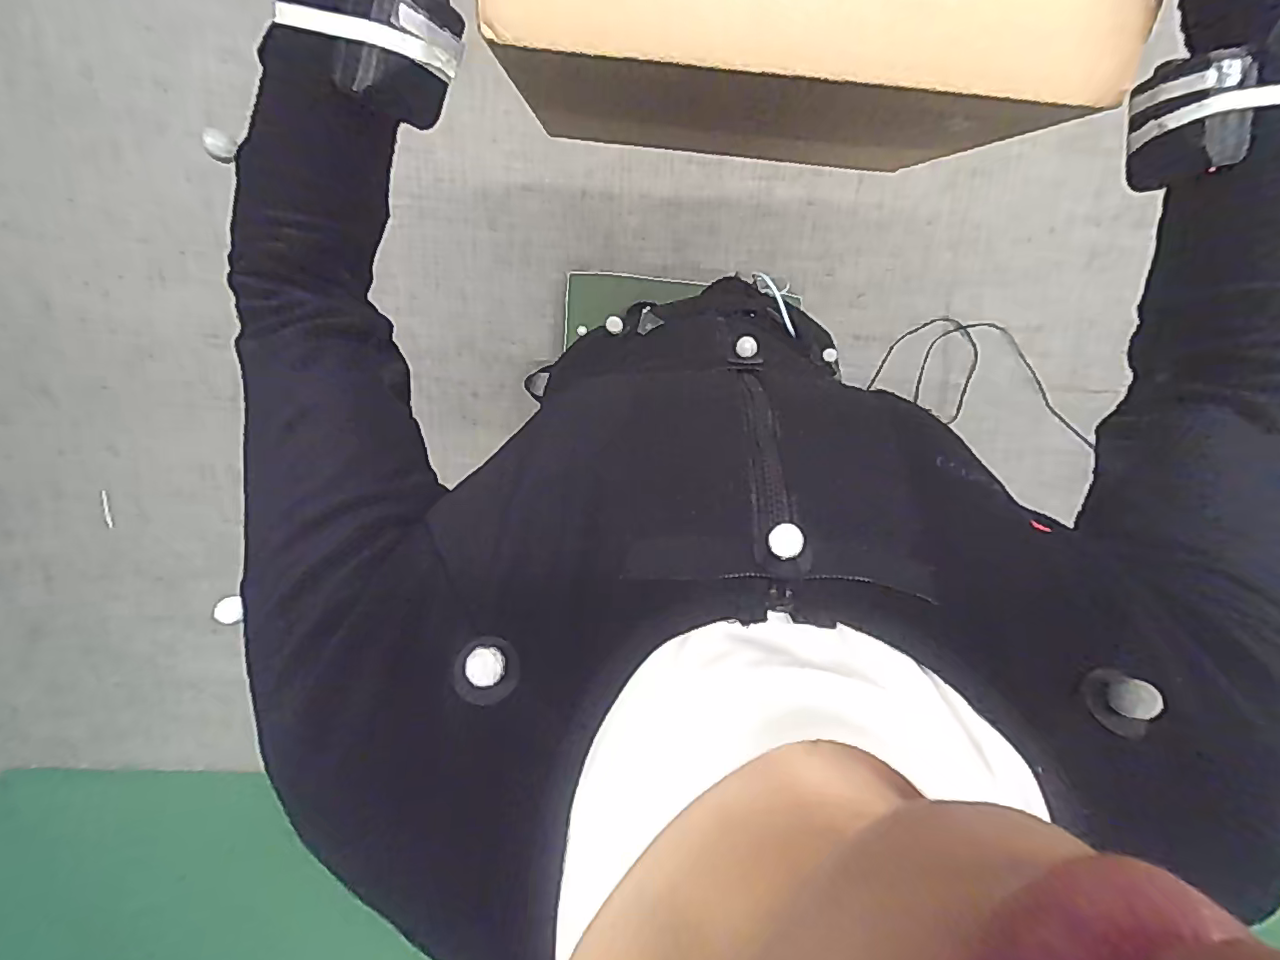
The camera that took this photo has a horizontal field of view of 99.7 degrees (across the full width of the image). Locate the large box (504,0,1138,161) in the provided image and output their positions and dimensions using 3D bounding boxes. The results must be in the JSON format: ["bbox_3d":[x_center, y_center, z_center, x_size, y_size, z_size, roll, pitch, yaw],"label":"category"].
[{"bbox_3d":[0.113,-0.461,0.424,0.408,0.320,0.320,3,114,-4],"label":"large box"}]
